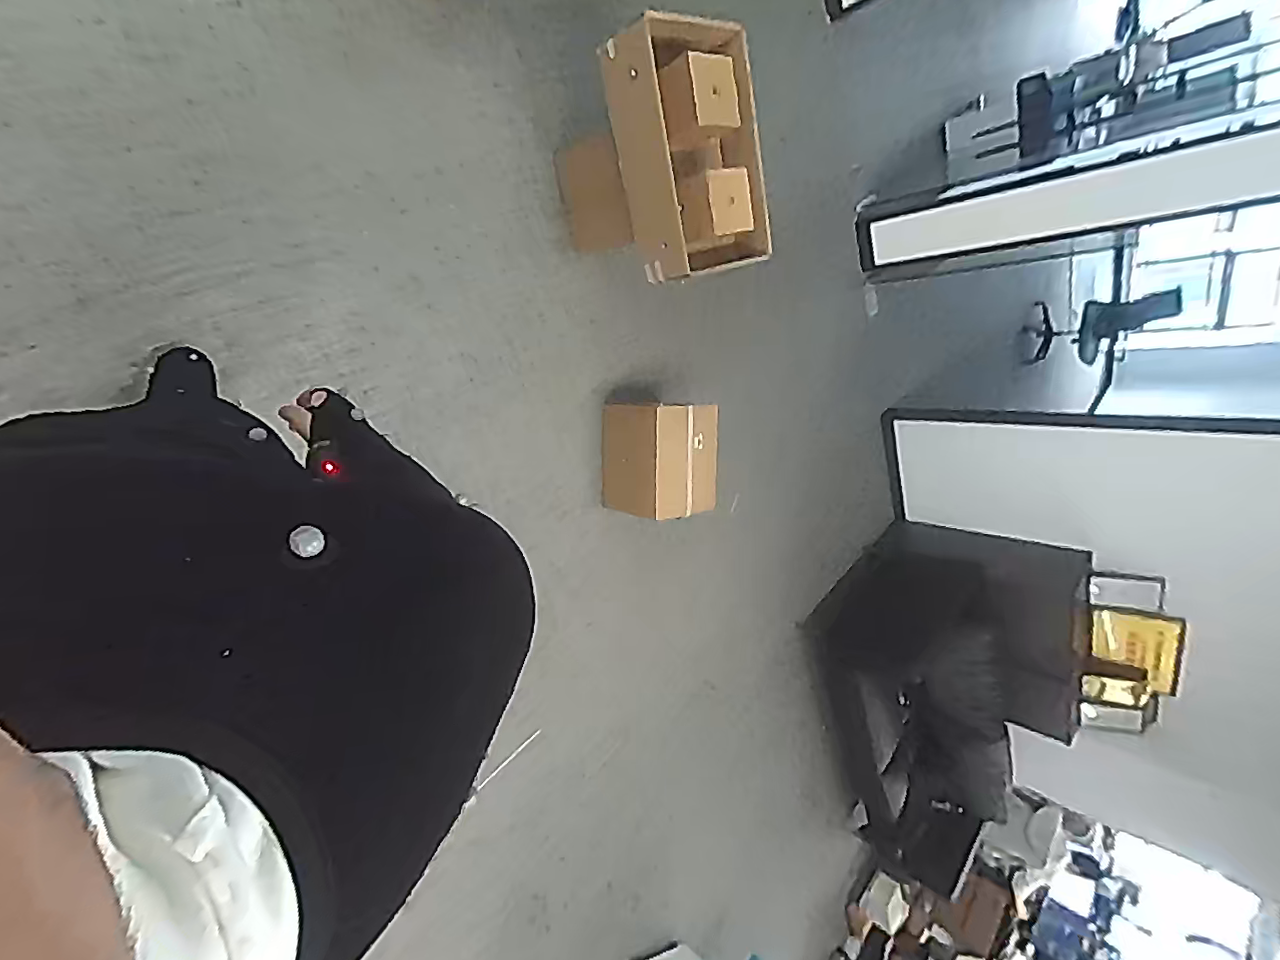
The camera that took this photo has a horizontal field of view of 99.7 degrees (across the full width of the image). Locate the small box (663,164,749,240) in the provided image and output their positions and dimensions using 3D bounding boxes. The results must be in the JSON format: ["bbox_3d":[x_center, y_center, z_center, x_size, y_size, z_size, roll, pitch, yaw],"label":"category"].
[{"bbox_3d":[0.193,-0.811,1.579,0.179,0.176,0.168,-27,115,-34],"label":"small box"}]

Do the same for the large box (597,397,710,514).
[{"bbox_3d":[0.050,-0.110,2.058,0.320,0.320,0.408,-9,103,-41],"label":"large box"}]
